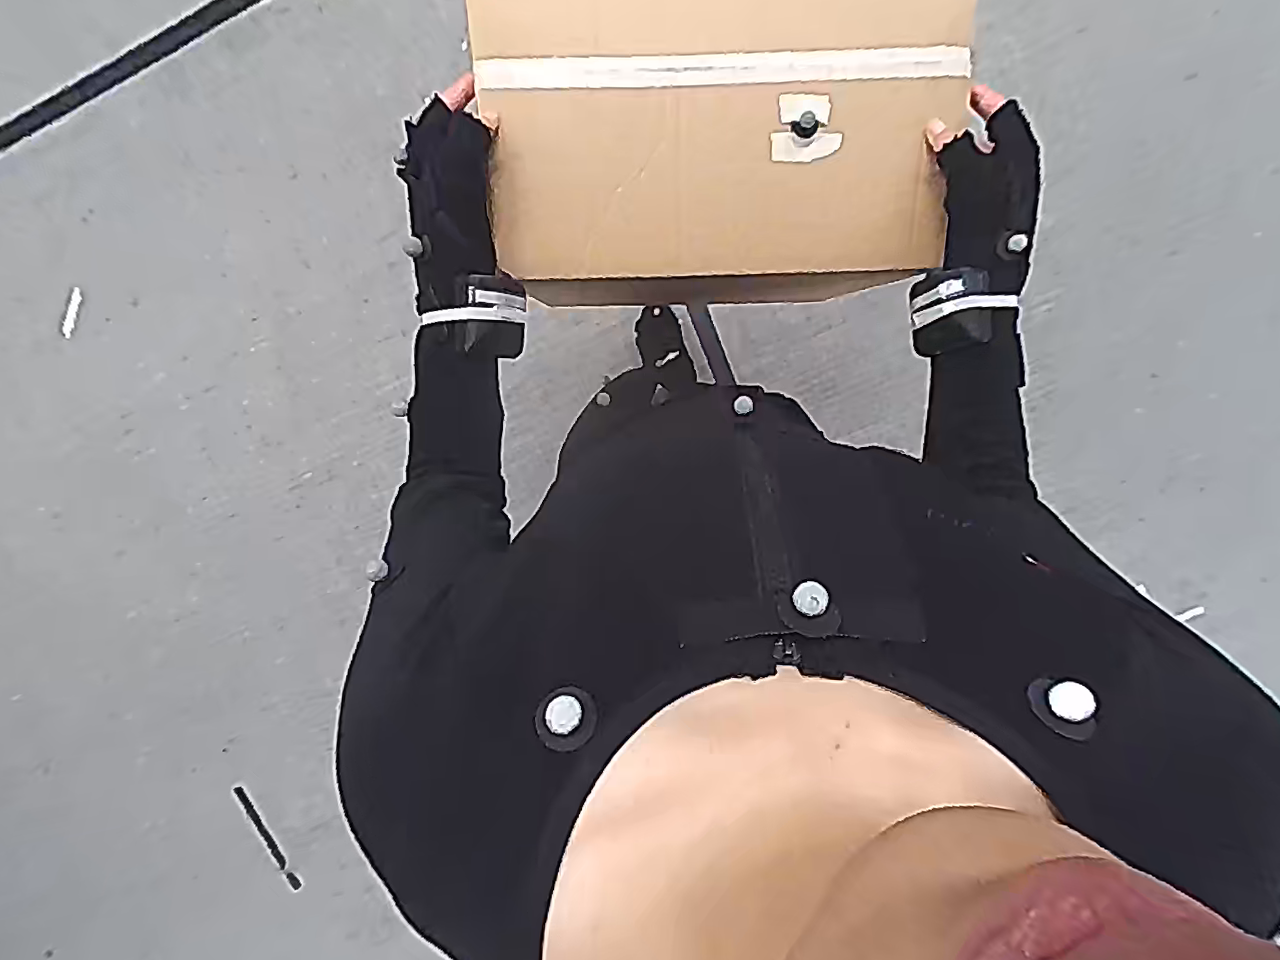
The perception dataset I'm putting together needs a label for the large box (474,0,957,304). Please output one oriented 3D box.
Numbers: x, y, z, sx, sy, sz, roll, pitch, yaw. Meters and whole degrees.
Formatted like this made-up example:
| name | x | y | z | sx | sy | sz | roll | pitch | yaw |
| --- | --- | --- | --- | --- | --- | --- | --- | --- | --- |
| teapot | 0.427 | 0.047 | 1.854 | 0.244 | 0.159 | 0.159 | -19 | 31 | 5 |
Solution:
| name | x | y | z | sx | sy | sz | roll | pitch | yaw |
| --- | --- | --- | --- | --- | --- | --- | --- | --- | --- |
| large box | 0.059 | -0.379 | 0.598 | 0.408 | 0.320 | 0.320 | -2 | 103 | -1 |
